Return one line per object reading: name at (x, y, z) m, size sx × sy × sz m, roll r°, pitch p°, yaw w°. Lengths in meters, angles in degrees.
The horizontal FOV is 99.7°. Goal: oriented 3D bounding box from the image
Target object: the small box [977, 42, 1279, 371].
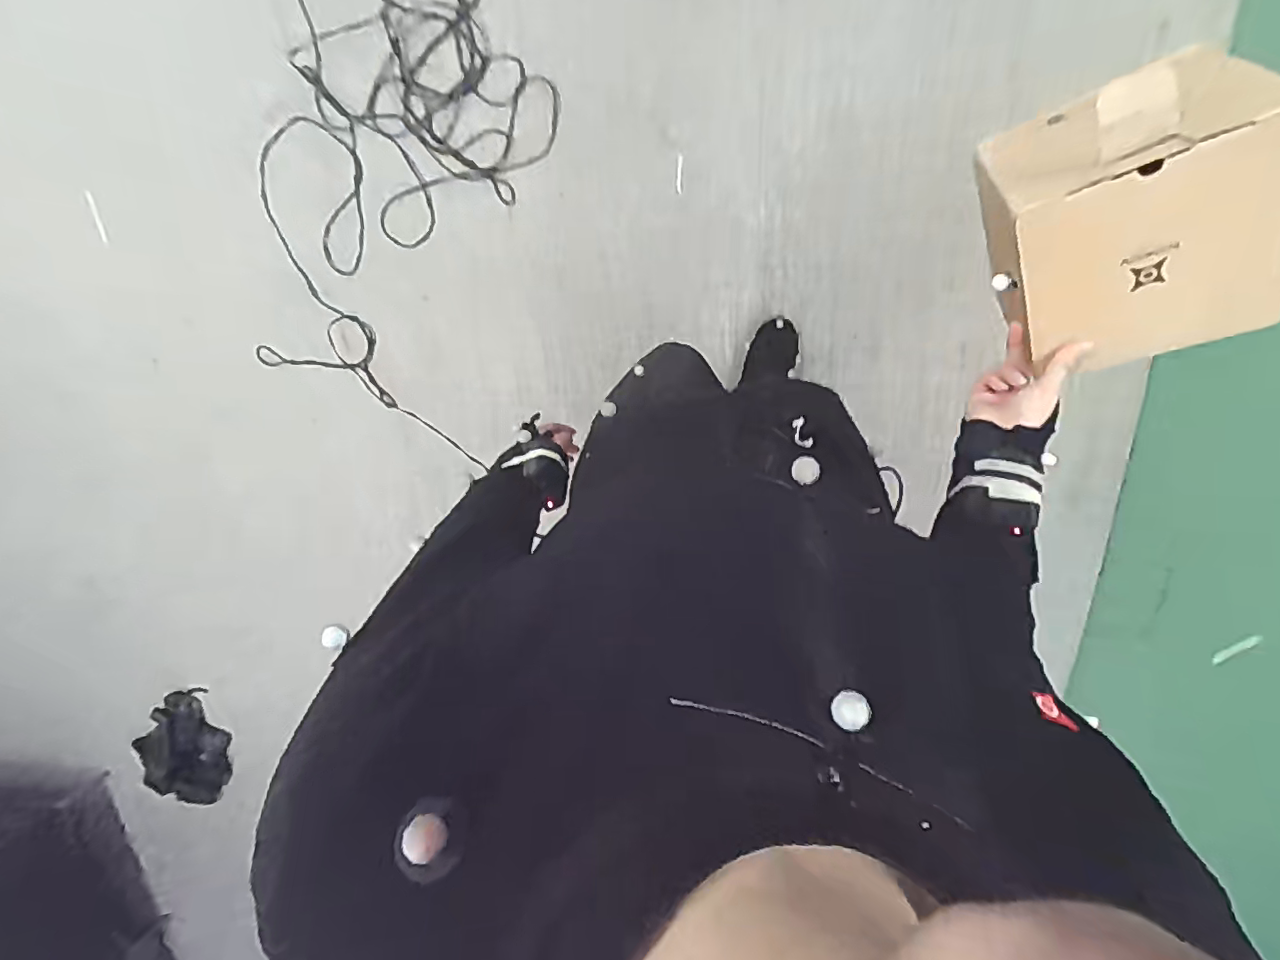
small box at (0.417, -0.233, 0.475) m, size 0.168 × 0.176 × 0.179 m, roll -16°, pitch 129°, yaw 30°
